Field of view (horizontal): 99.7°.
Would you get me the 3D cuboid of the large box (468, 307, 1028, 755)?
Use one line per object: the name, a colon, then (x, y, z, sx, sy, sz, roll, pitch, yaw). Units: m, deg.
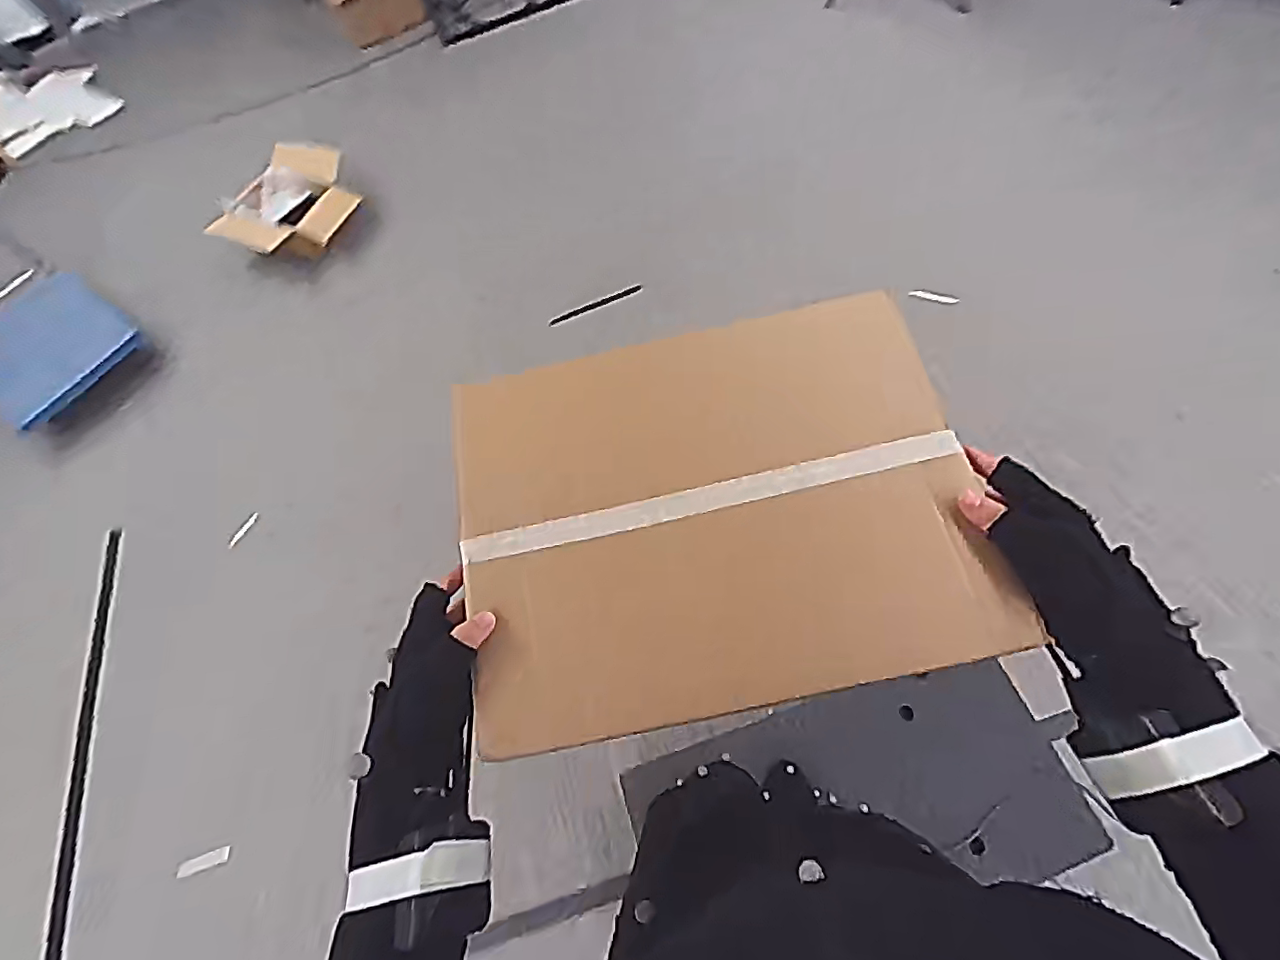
large box: (0.076, 0.072, 0.583, 0.408, 0.320, 0.320, -12, 68, 1)

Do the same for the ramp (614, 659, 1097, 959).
ramp: (0.483, 0.752, 1.239, 0.991, 0.206, 0.509, -22, 61, -2)
